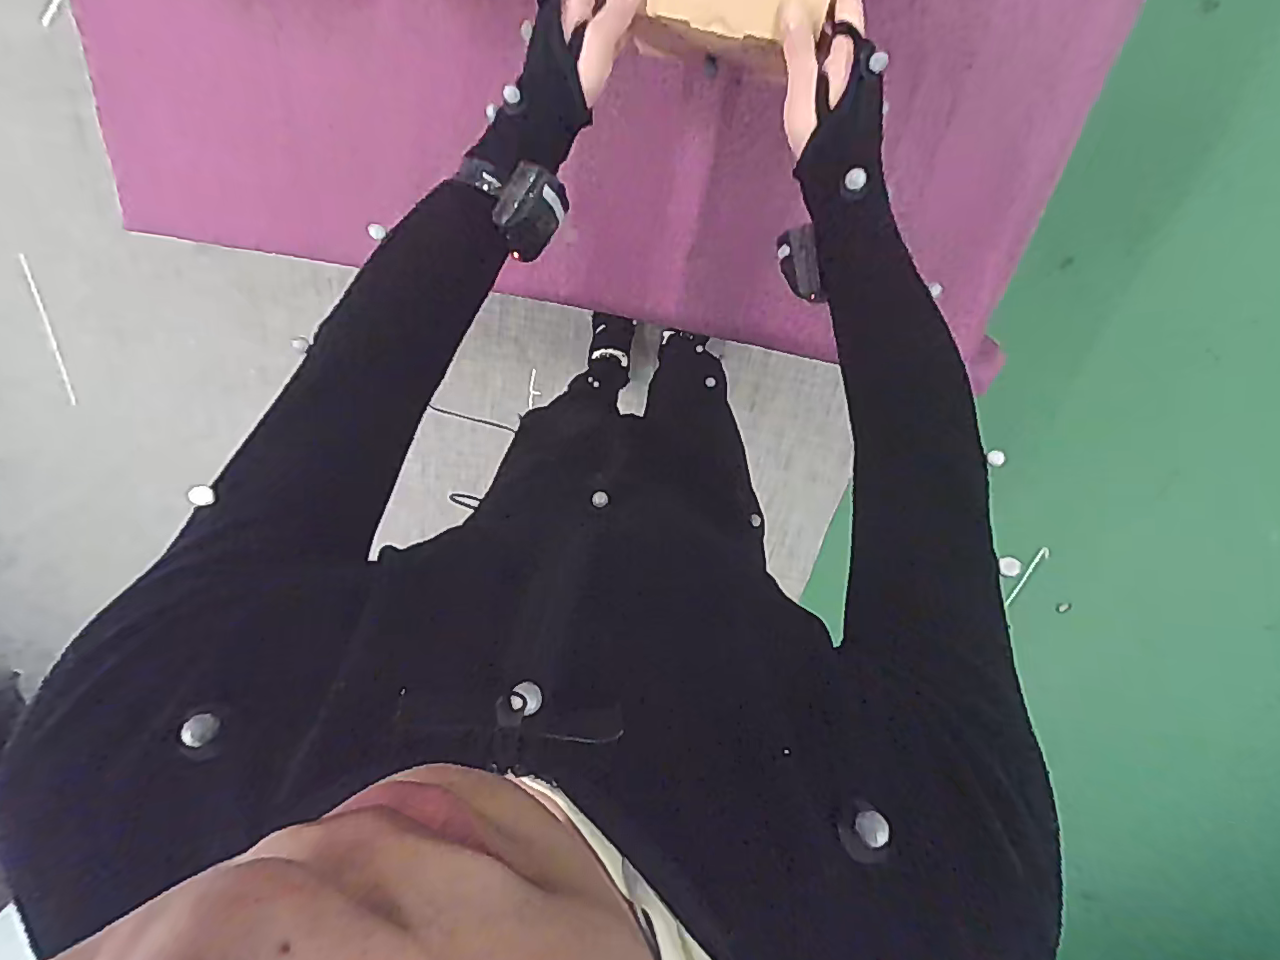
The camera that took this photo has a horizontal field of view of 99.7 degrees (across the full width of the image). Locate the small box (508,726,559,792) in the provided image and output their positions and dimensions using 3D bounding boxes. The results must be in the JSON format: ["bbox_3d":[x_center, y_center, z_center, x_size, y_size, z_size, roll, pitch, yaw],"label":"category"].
[{"bbox_3d":[-0.453,1.187,2.312,0.168,0.176,0.179,14,119,0],"label":"small box"}]

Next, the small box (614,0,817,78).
[{"bbox_3d":[0.079,-0.479,0.465,0.168,0.176,0.179,13,120,1],"label":"small box"}]
